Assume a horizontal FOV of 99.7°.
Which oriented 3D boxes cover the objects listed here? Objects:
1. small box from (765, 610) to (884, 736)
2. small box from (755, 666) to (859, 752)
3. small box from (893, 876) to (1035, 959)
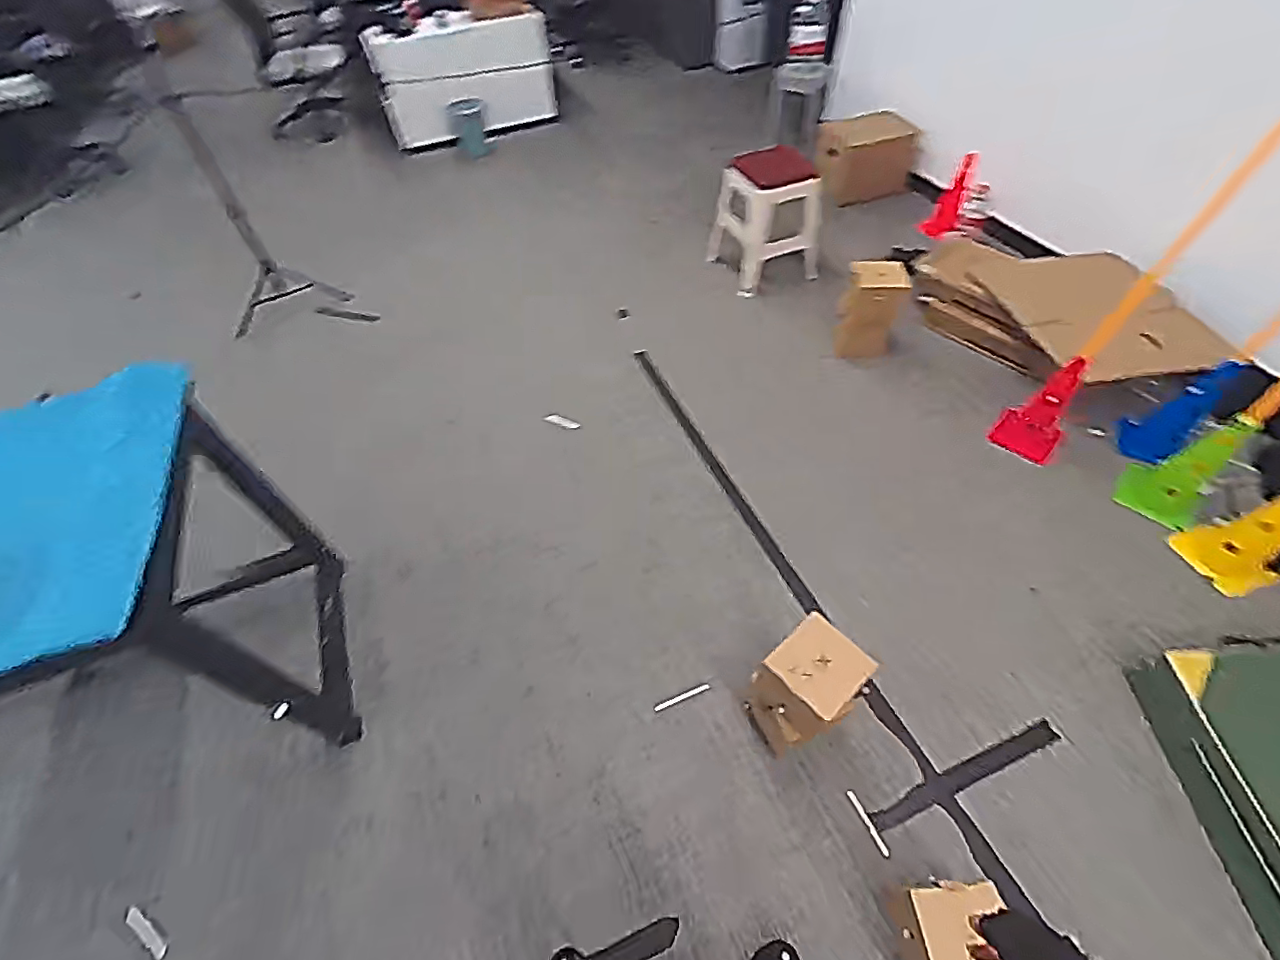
[{"bbox_3d":[0.392,0.425,1.185,0.179,0.176,0.168,-33,56,-17],"label":"small box"},{"bbox_3d":[0.393,0.532,1.311,0.179,0.176,0.168,-21,54,-12],"label":"small box"},{"bbox_3d":[0.615,0.877,1.035,0.168,0.176,0.179,-6,54,-2],"label":"small box"}]
